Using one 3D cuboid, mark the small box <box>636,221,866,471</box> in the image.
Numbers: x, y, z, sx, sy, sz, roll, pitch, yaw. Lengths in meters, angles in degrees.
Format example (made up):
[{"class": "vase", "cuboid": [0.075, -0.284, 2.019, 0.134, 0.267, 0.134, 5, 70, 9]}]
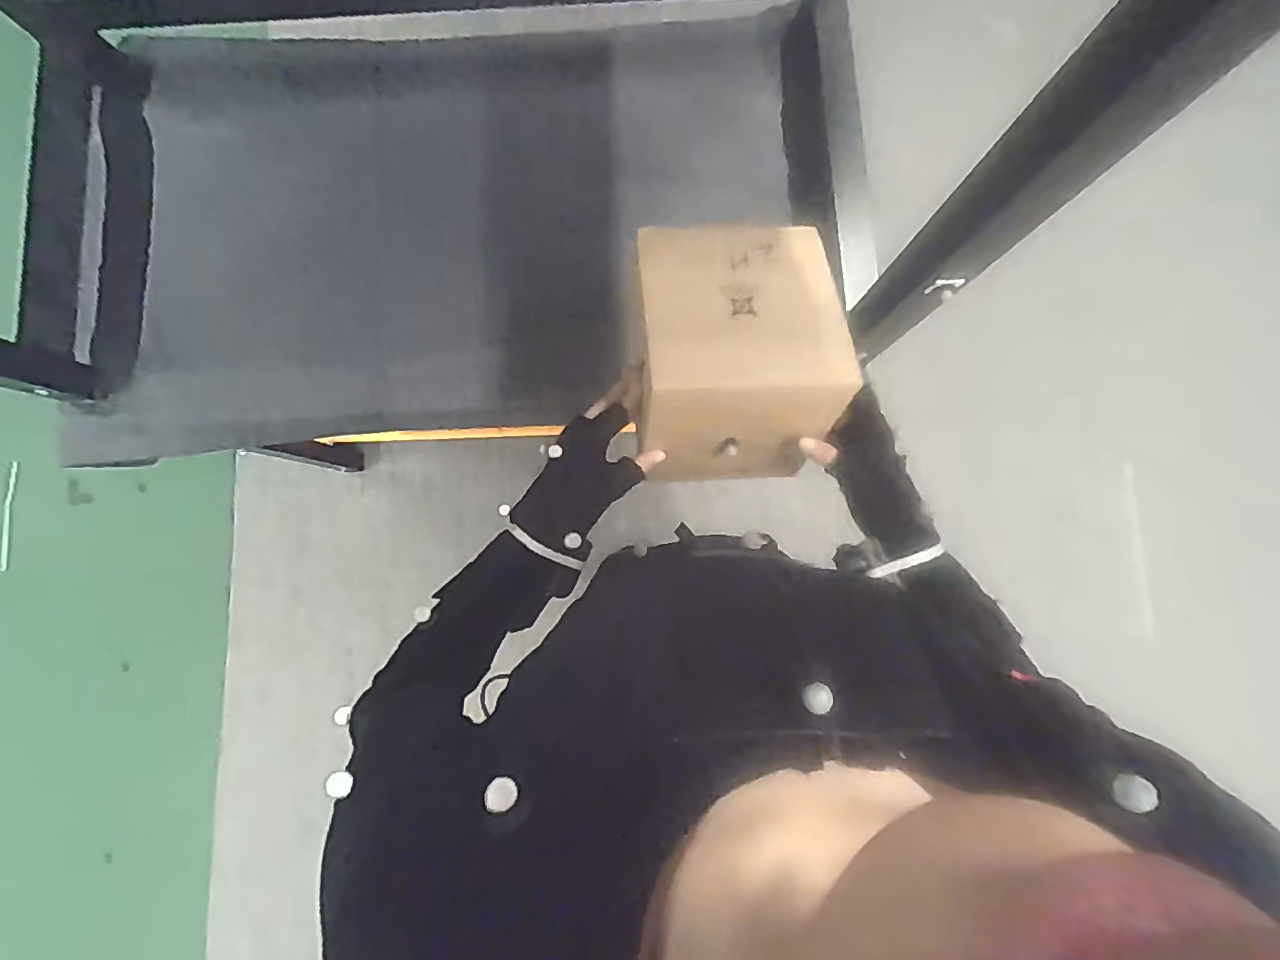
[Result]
[{"class": "small box", "cuboid": [0.084, -0.115, 0.515, 0.168, 0.176, 0.179, -3, 66, -5]}]
